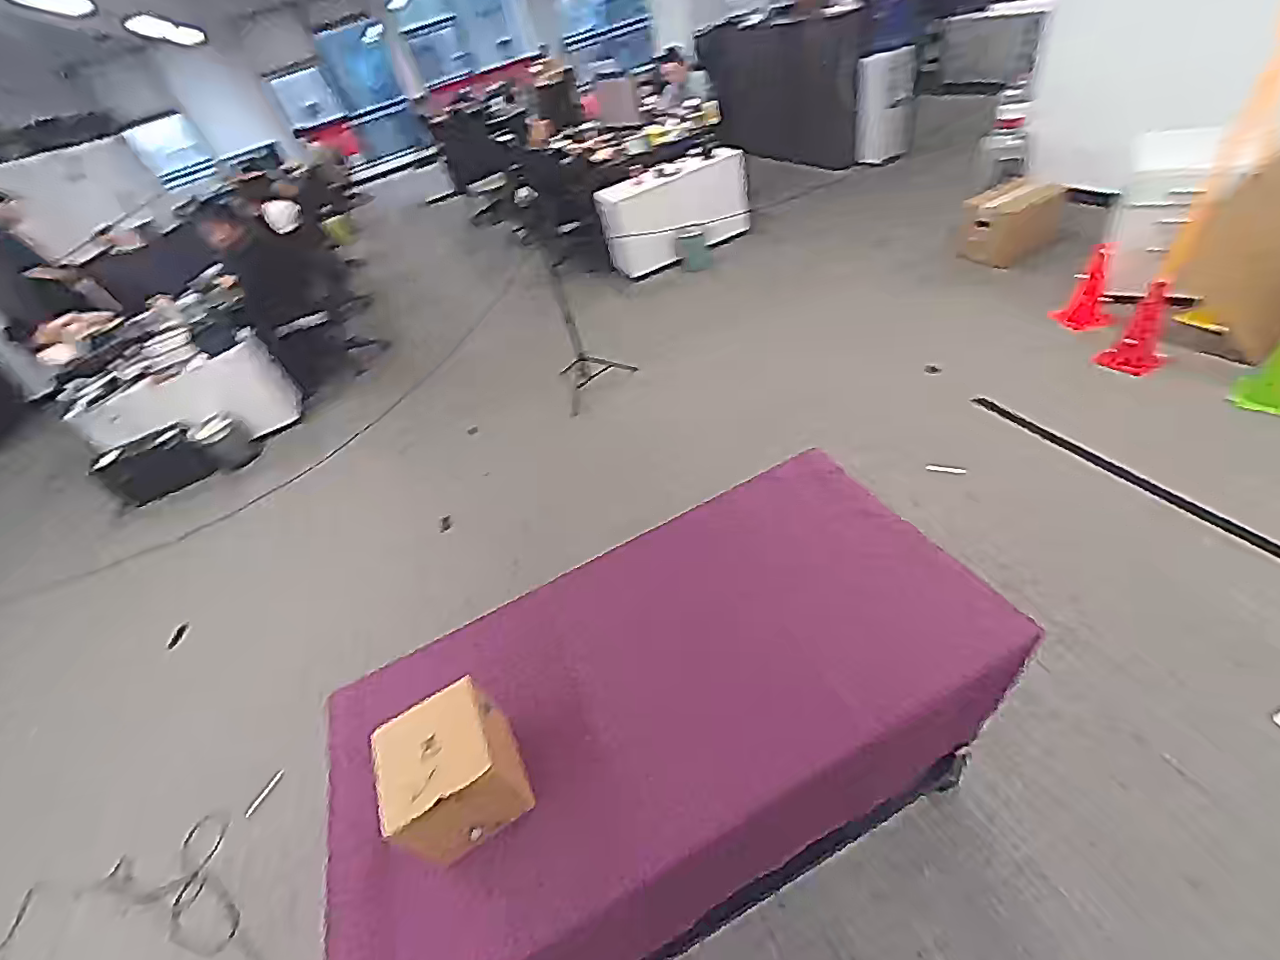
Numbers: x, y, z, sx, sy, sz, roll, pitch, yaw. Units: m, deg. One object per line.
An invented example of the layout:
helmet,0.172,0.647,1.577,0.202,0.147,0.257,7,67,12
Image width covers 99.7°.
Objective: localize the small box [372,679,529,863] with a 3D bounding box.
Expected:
small box,-0.302,0.468,0.870,0.168,0.176,0.179,-30,43,-12
